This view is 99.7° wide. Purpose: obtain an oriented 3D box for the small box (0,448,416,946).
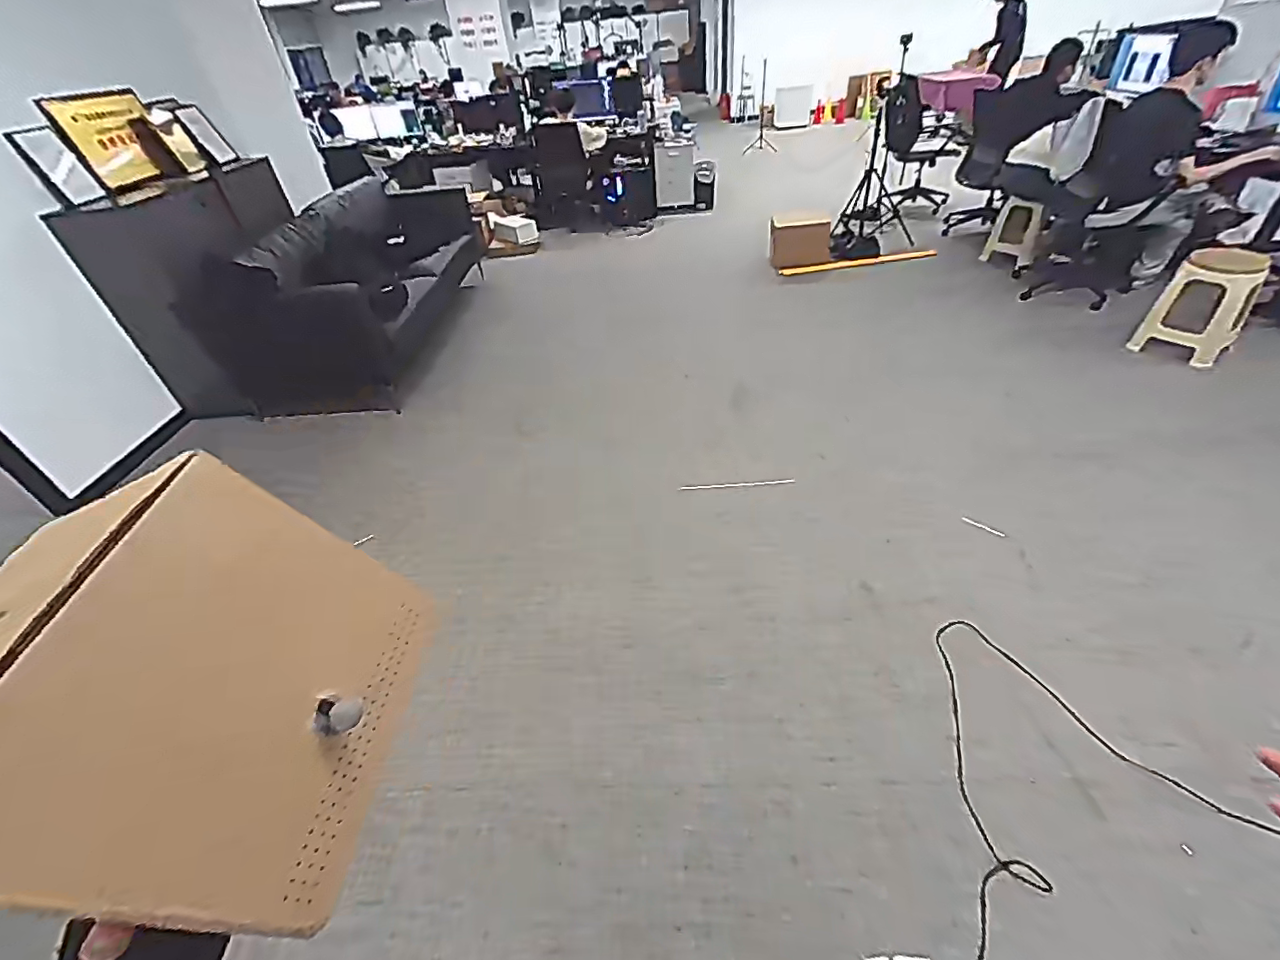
[{"bbox_3d":[-0.252,0.118,0.283,0.168,0.176,0.179,-18,43,23],"label":"small box"}]
